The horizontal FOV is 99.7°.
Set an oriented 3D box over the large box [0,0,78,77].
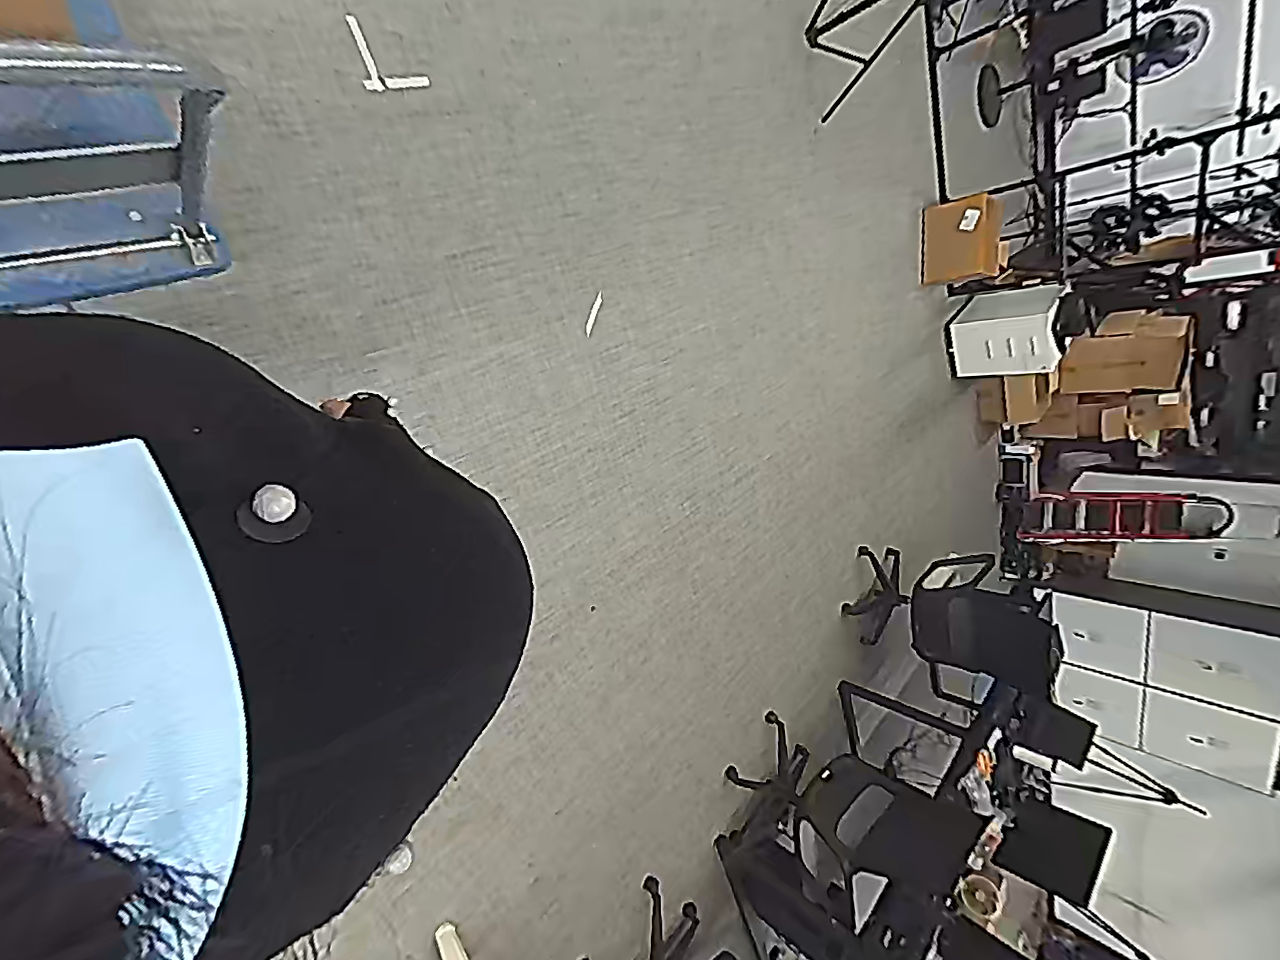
[{"bbox_3d":[-1.024,-0.720,0.636,0.408,0.320,0.320,-28,112,-35],"label":"large box"}]
